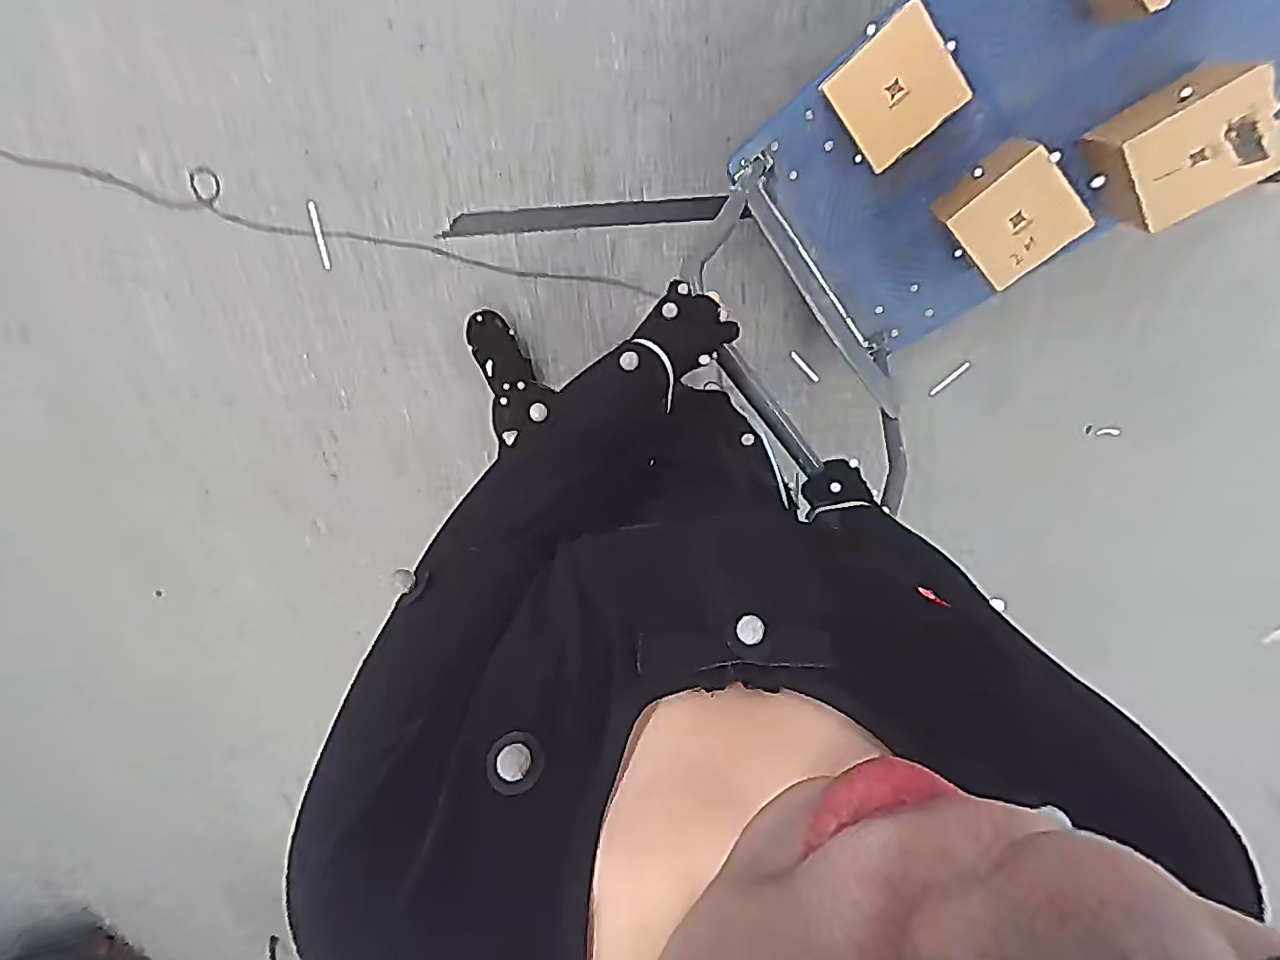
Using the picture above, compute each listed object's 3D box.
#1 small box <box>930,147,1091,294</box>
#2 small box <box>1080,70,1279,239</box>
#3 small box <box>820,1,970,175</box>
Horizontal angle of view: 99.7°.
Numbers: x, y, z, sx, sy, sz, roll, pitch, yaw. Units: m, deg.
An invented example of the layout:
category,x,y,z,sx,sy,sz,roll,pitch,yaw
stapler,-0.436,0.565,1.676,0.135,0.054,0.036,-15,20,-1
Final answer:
category,x,y,z,sx,sy,sz,roll,pitch,yaw
small box,0.674,-0.486,1.007,0.179,0.176,0.168,42,125,-15
small box,0.891,-0.543,0.904,0.179,0.176,0.168,-26,114,31
small box,0.431,-0.673,0.944,0.168,0.176,0.179,-34,112,32
